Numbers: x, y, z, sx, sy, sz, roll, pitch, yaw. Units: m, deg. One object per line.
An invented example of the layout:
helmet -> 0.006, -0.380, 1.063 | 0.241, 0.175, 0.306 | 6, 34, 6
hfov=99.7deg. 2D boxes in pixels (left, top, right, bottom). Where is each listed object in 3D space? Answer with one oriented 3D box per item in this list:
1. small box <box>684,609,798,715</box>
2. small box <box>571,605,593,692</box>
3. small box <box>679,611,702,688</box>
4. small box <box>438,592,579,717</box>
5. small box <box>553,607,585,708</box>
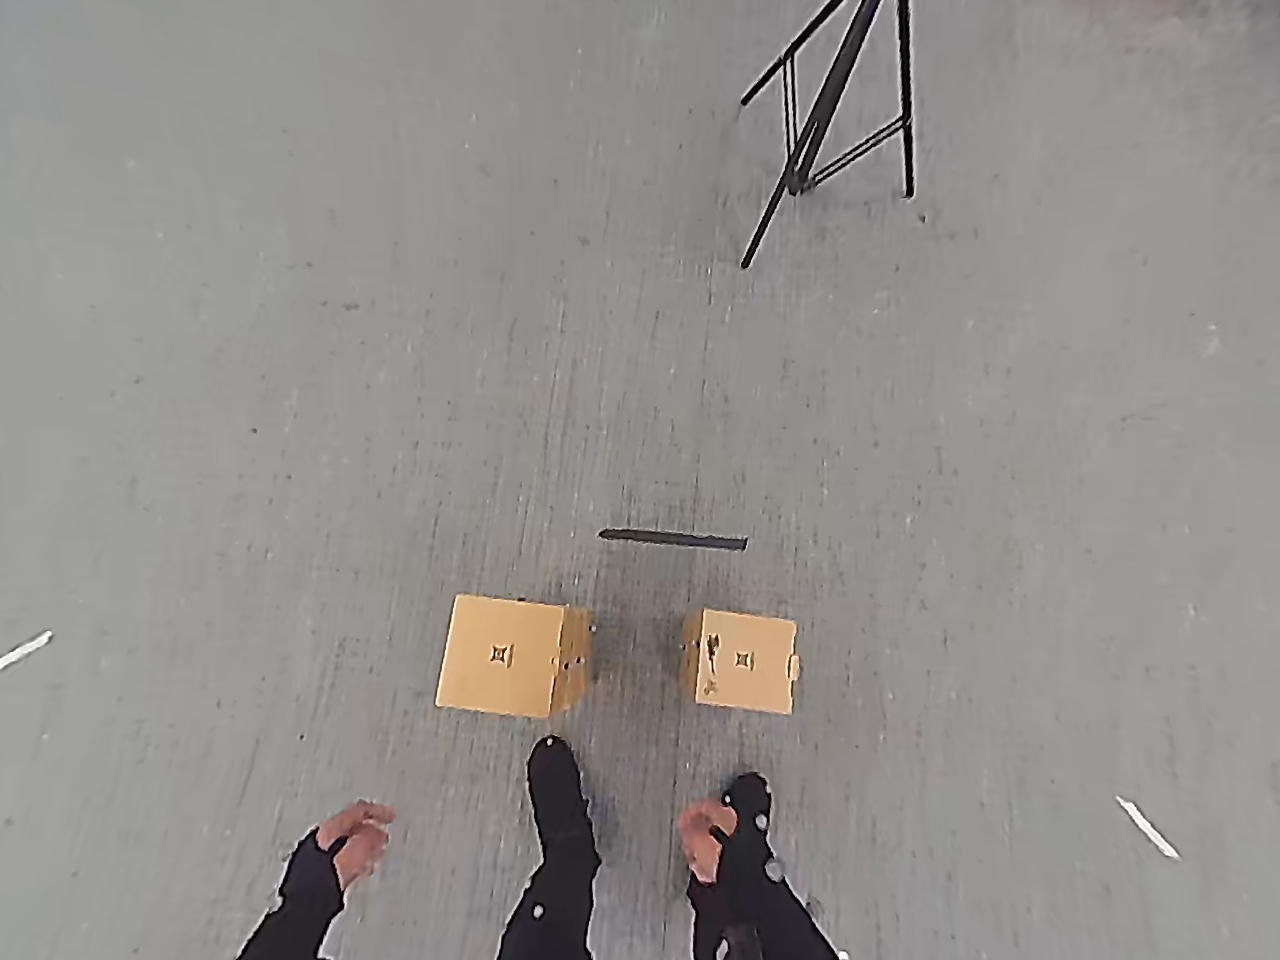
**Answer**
small box -> 0.191, 0.348, 1.058 | 0.179, 0.176, 0.168 | 8, 75, 0
small box -> -0.194, 0.374, 1.211 | 0.168, 0.176, 0.179 | 0, 75, -1
small box -> 0.187, 0.390, 1.216 | 0.179, 0.176, 0.168 | 7, 76, 0
small box -> -0.206, 0.284, 0.898 | 0.179, 0.176, 0.168 | 7, 75, 1
small box -> -0.198, 0.337, 1.052 | 0.168, 0.176, 0.179 | 2, 76, 0
